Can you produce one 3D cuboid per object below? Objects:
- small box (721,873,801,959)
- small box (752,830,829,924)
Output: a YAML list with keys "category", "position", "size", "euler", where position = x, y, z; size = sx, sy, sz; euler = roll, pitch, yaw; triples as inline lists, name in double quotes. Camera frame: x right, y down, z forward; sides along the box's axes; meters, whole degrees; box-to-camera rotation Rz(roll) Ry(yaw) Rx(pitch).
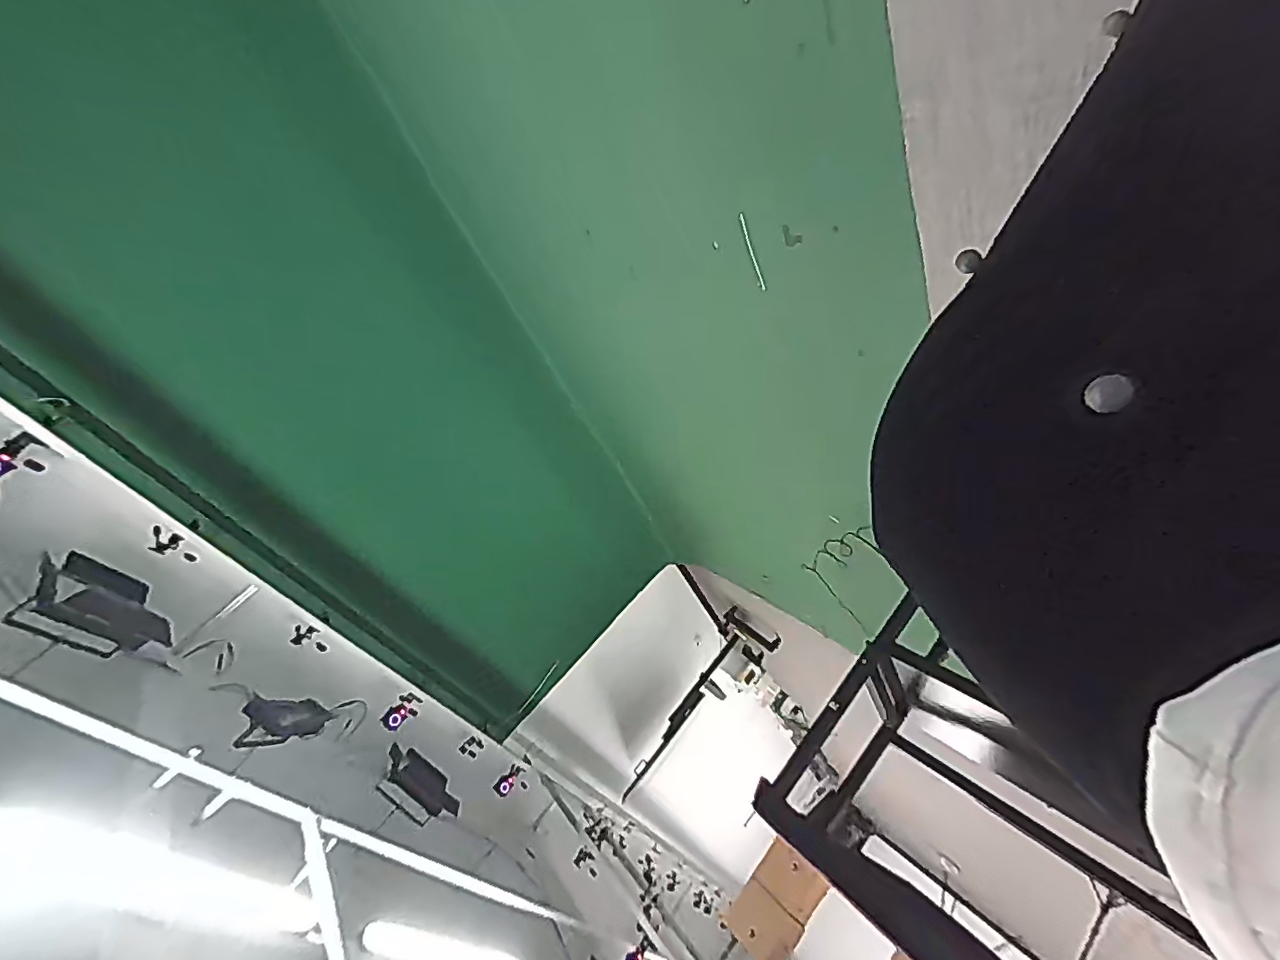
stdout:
- category: "small box"
  position: [0.404, 1.444, 1.767]
  size: [0.179, 0.176, 0.168]
  euler: [23, 151, 49]
- category: "small box"
  position: [0.515, 1.337, 1.827]
  size: [0.168, 0.176, 0.179]
  euler: [23, 151, 49]
